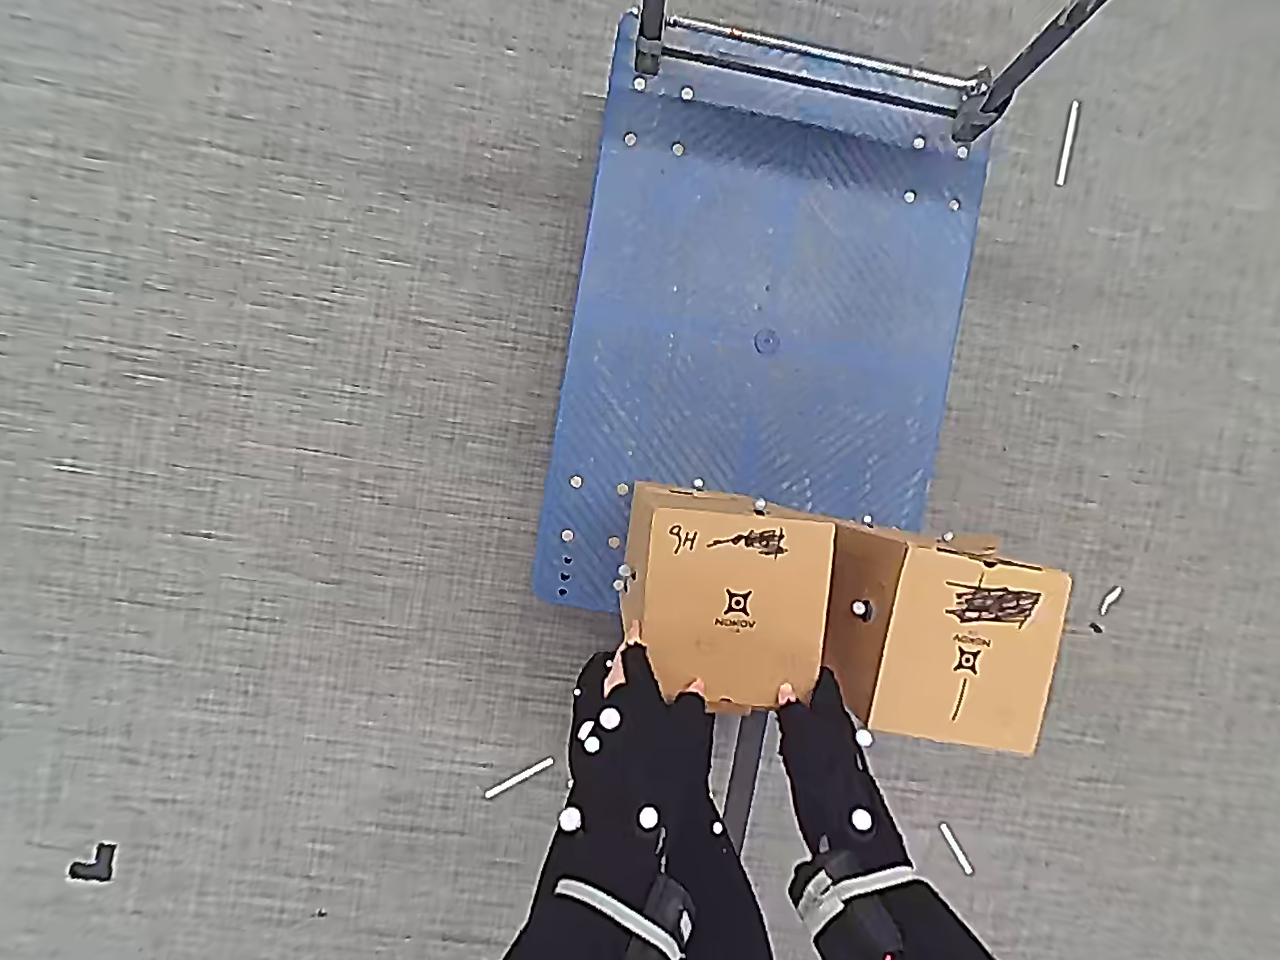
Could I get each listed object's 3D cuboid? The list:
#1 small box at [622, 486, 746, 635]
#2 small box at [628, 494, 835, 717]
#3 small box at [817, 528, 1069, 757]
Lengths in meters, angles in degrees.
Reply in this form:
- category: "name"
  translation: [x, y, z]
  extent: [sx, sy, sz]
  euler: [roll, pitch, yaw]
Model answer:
- category: "small box"
  translation: [0.068, 0.107, 0.724]
  extent: [0.168, 0.176, 0.179]
  euler: [8, 91, -5]
- category: "small box"
  translation: [0.078, 0.116, 0.559]
  extent: [0.168, 0.176, 0.179]
  euler: [6, 93, -5]
- category: "small box"
  translation: [0.294, 0.155, 0.575]
  extent: [0.168, 0.176, 0.179]
  euler: [12, 92, -5]
